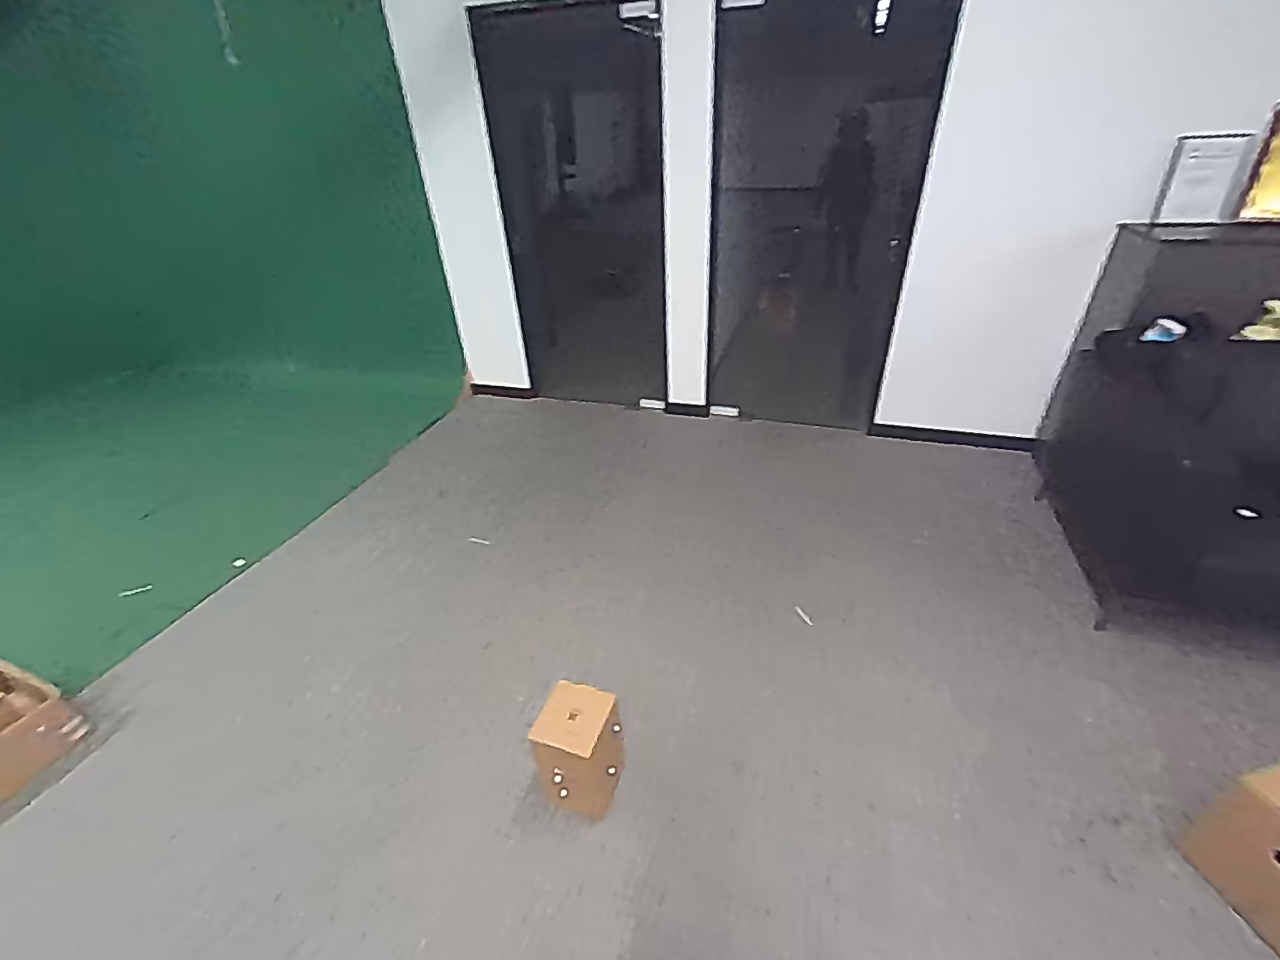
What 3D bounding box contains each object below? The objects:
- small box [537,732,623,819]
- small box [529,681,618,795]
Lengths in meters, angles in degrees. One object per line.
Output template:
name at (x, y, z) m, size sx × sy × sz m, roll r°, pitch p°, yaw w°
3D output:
small box at (-0.156, 0.782, 1.468) m, size 0.179 × 0.176 × 0.168 m, roll 9°, pitch 34°, yaw 18°
small box at (-0.160, 0.651, 1.371) m, size 0.168 × 0.176 × 0.179 m, roll 8°, pitch 35°, yaw 18°
